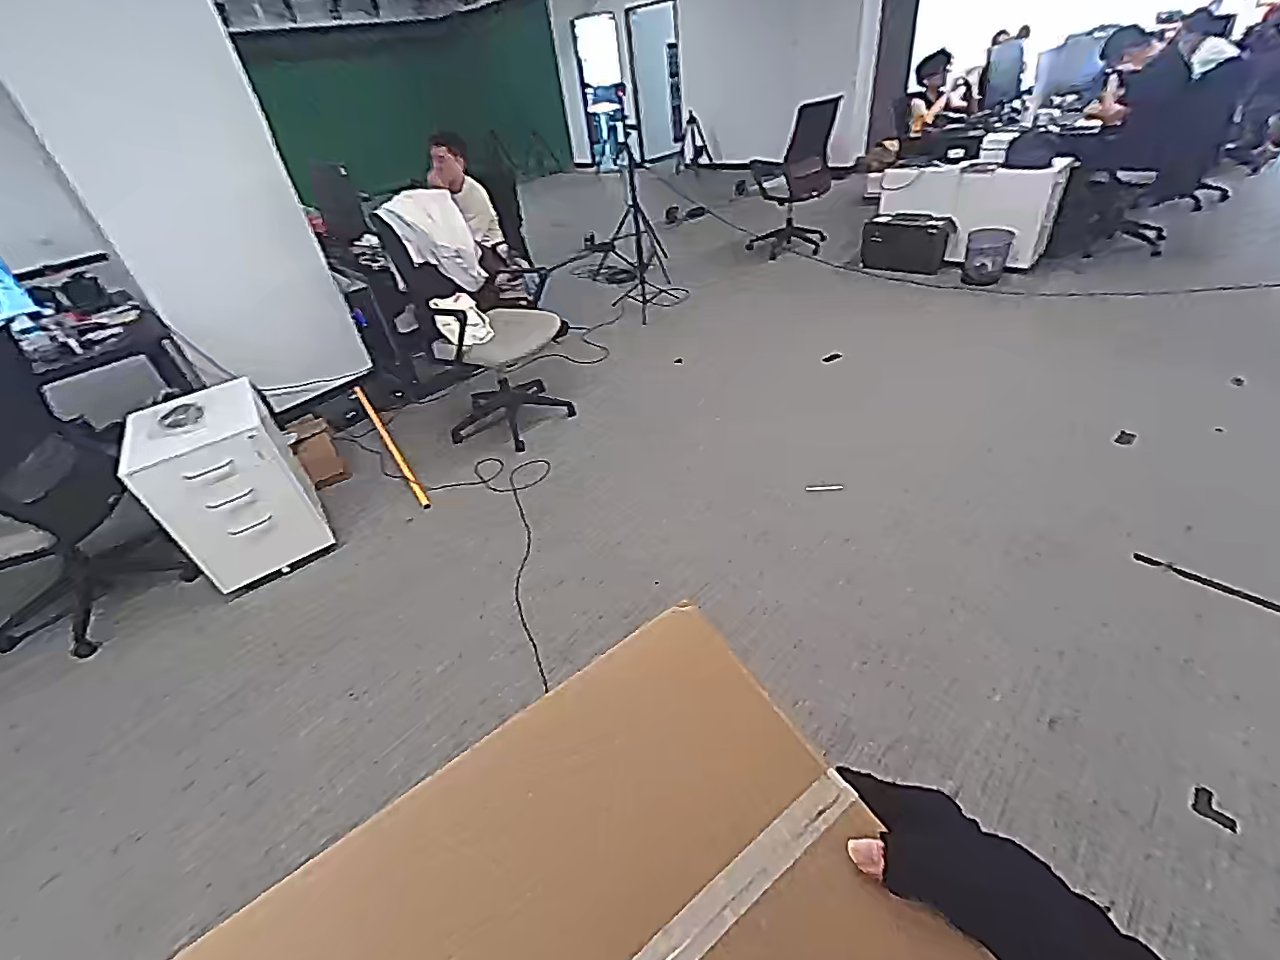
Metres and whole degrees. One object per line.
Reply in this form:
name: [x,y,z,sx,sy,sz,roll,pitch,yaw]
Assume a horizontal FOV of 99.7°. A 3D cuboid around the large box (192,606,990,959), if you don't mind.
large box: [-0.032,0.379,0.395,0.408,0.320,0.320,-31,59,-20]
